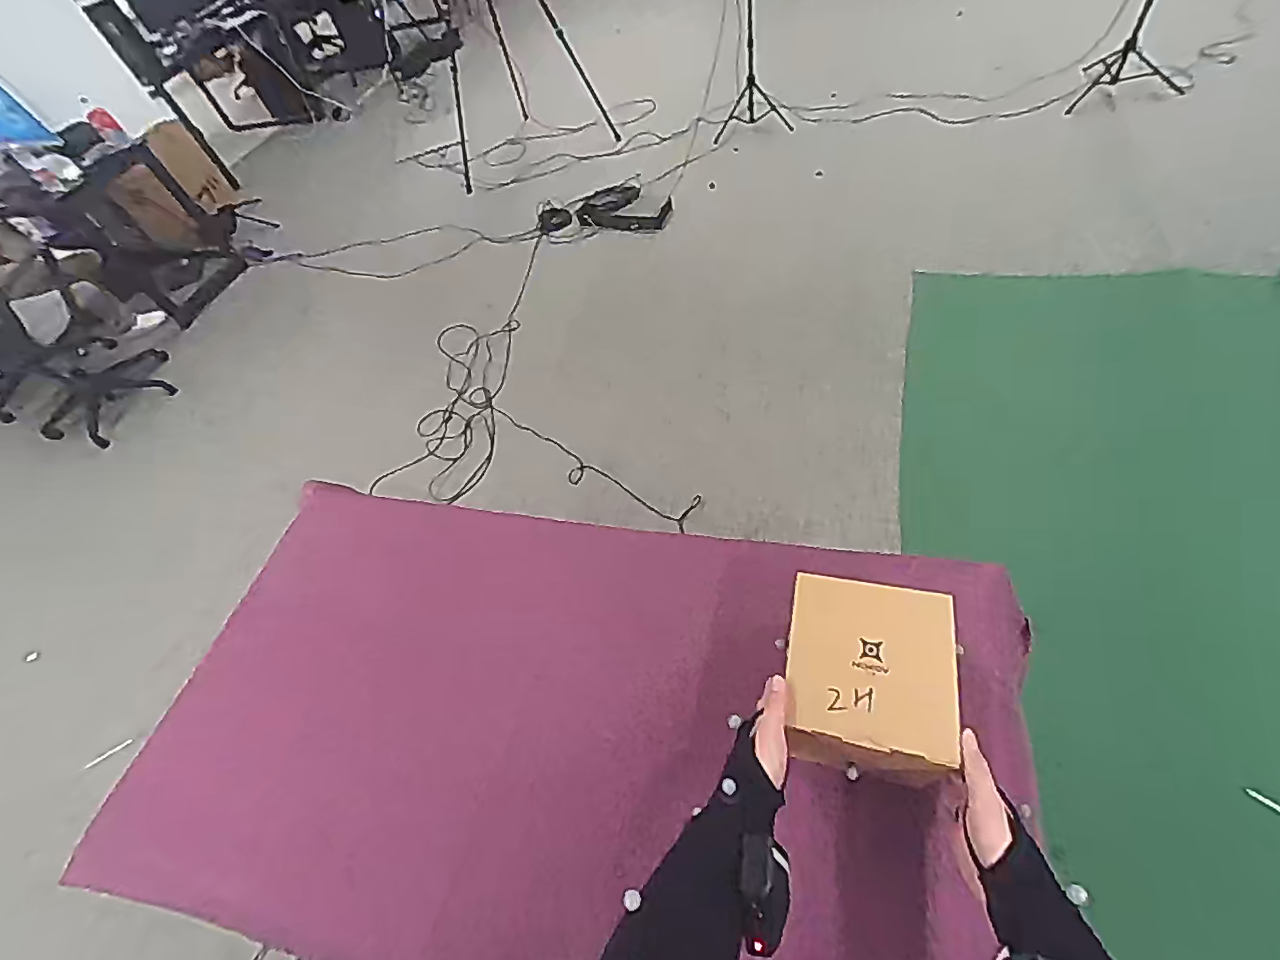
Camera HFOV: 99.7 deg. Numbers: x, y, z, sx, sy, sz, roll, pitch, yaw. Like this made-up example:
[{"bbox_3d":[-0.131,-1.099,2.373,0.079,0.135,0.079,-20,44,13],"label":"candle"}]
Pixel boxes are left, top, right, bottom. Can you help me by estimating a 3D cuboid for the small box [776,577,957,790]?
[{"bbox_3d":[0.254,0.239,0.633,0.168,0.176,0.179,7,57,18],"label":"small box"}]
